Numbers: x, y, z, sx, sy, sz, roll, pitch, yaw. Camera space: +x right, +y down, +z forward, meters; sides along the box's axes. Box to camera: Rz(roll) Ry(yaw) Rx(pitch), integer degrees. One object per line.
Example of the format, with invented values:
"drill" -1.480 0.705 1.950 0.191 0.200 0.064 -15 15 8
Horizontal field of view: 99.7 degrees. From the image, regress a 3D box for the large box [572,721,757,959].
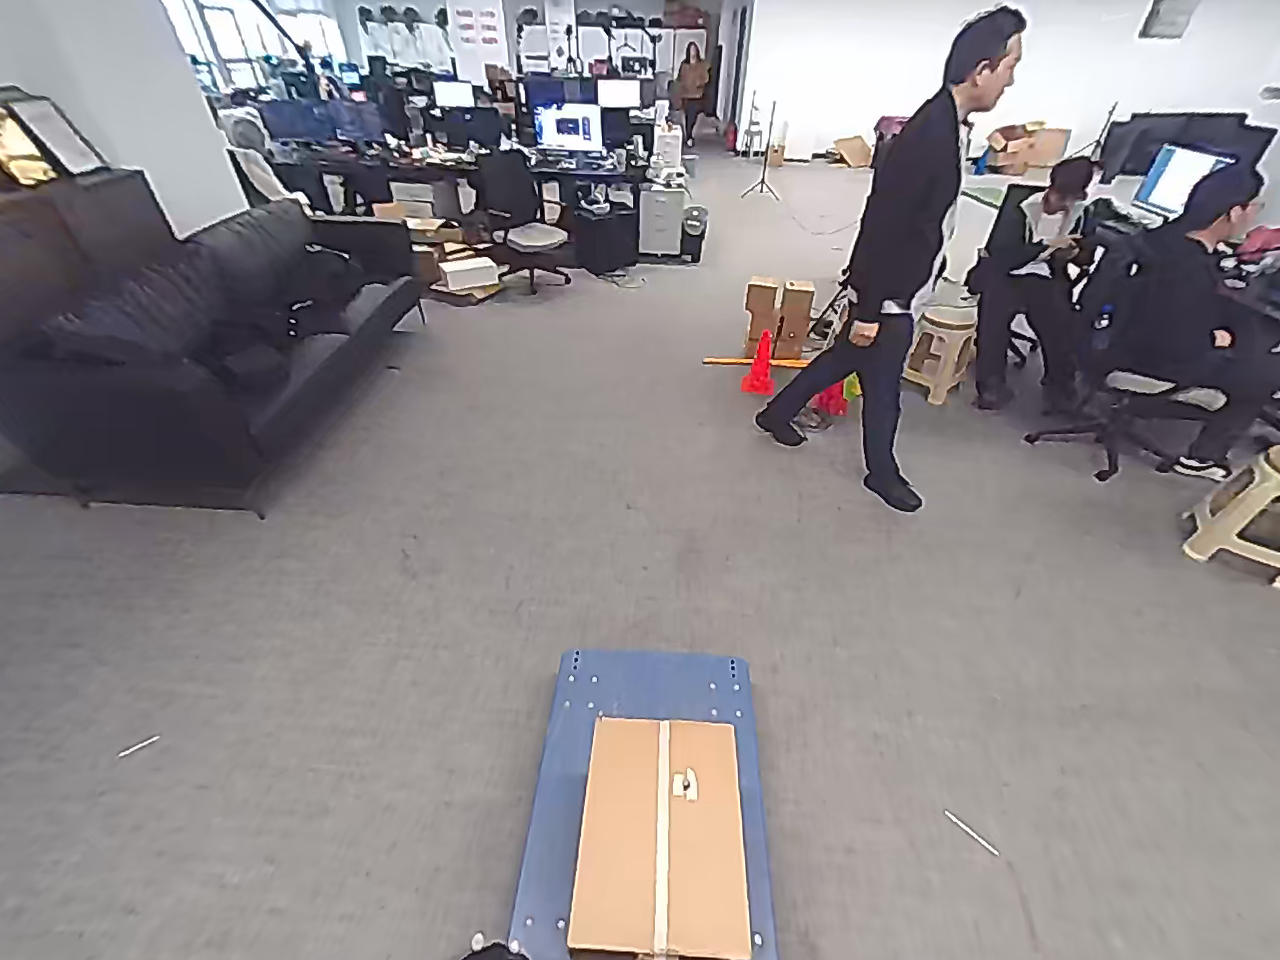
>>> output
"large box" 0.047 0.781 1.132 0.320 0.320 0.408 3 38 2
